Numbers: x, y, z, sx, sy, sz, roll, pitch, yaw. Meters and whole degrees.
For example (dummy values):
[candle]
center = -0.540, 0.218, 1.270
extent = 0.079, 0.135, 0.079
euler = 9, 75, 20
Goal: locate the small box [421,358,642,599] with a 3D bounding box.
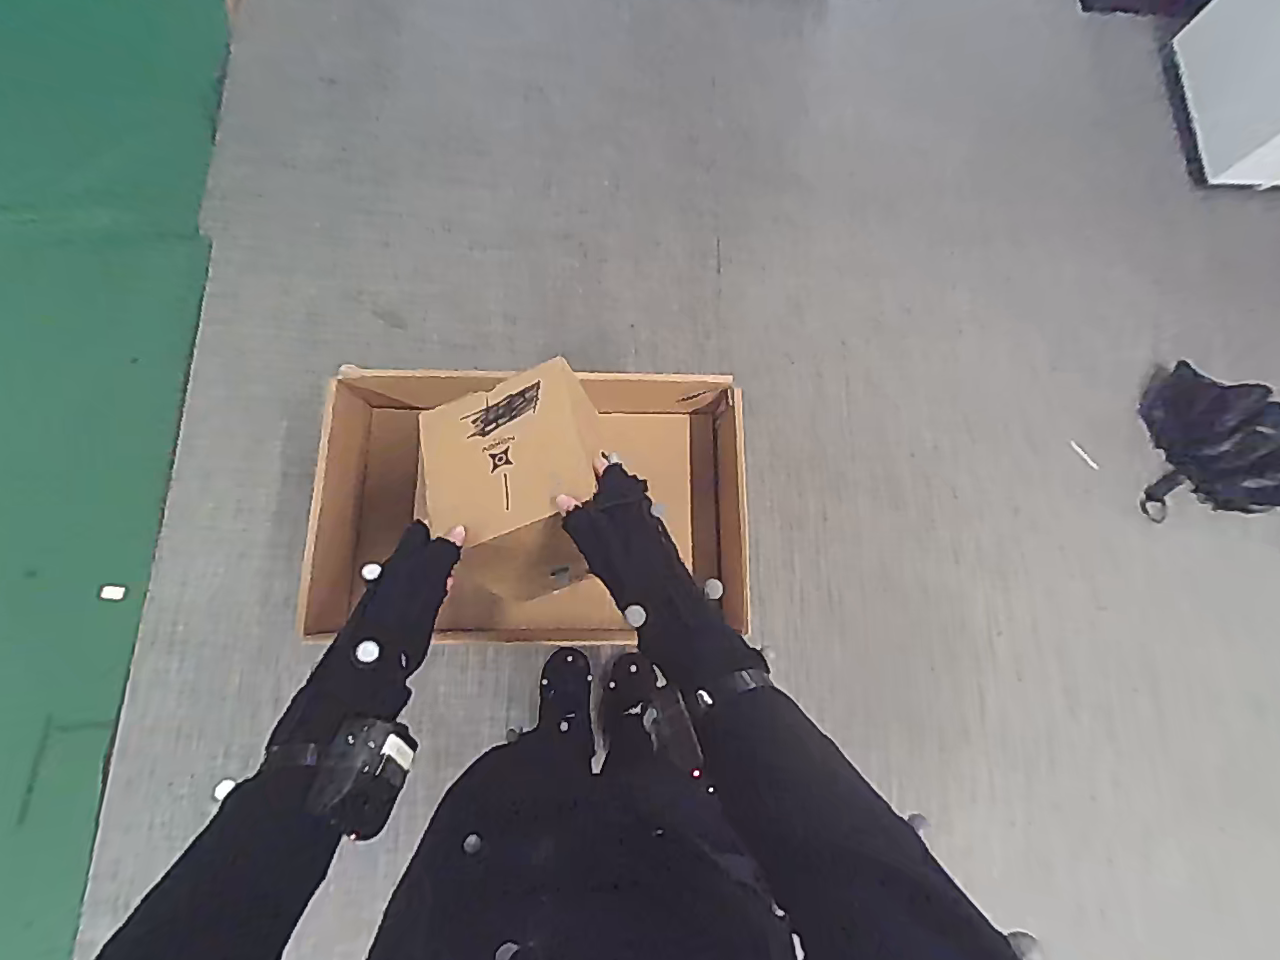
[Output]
[small box]
center = -0.113, 0.007, 0.591
extent = 0.168, 0.176, 0.179
euler = -22, 60, 7
